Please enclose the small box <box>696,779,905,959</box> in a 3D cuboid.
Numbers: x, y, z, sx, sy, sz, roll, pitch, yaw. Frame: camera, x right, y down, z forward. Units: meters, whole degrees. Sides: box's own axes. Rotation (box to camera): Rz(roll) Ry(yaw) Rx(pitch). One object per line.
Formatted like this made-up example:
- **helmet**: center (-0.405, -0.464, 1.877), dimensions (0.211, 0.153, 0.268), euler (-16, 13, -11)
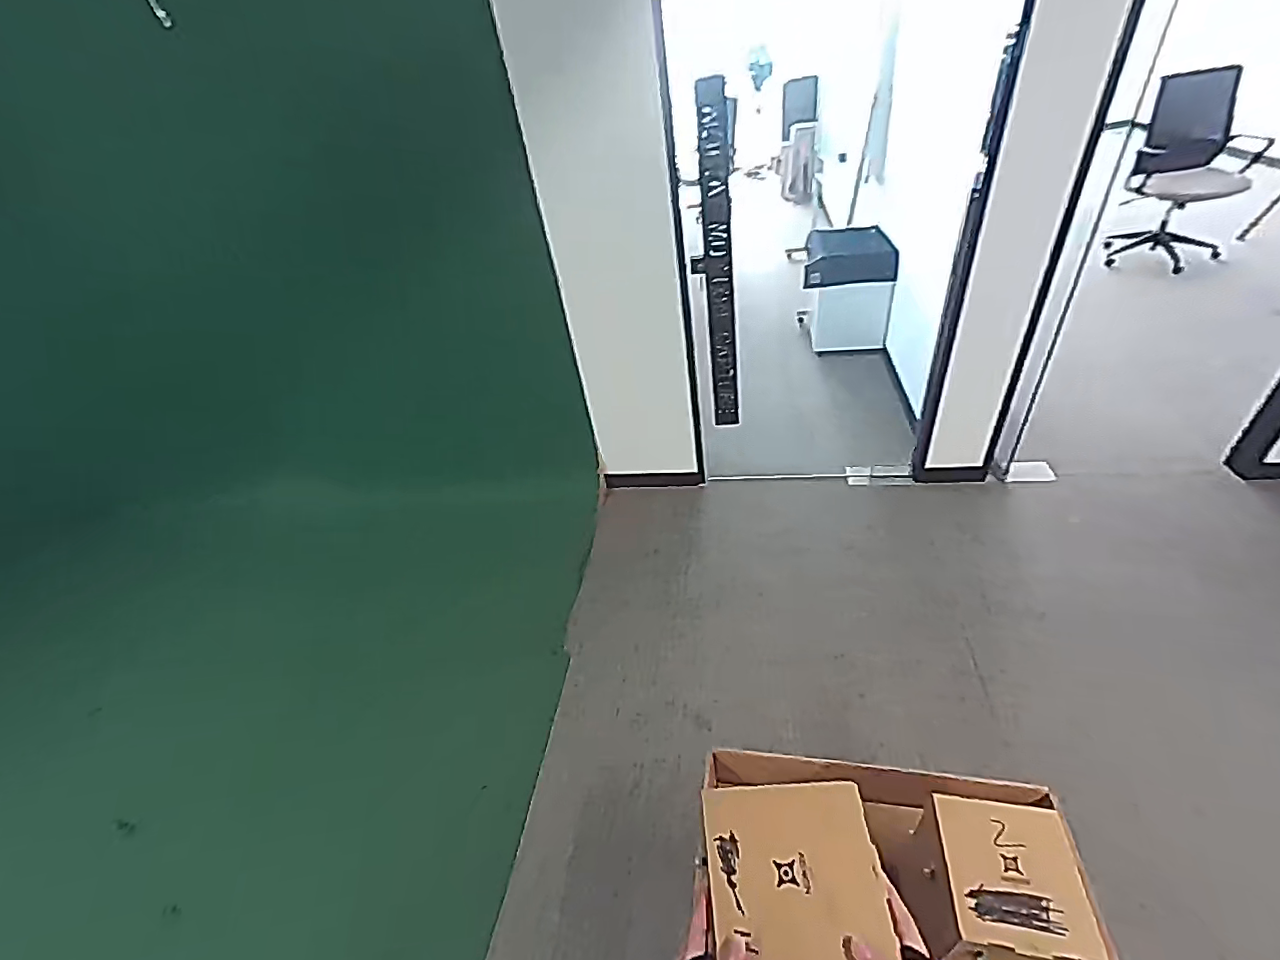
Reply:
- **small box**: center (0.159, 0.450, 0.604), dimensions (0.179, 0.176, 0.168), euler (-4, 45, 1)
